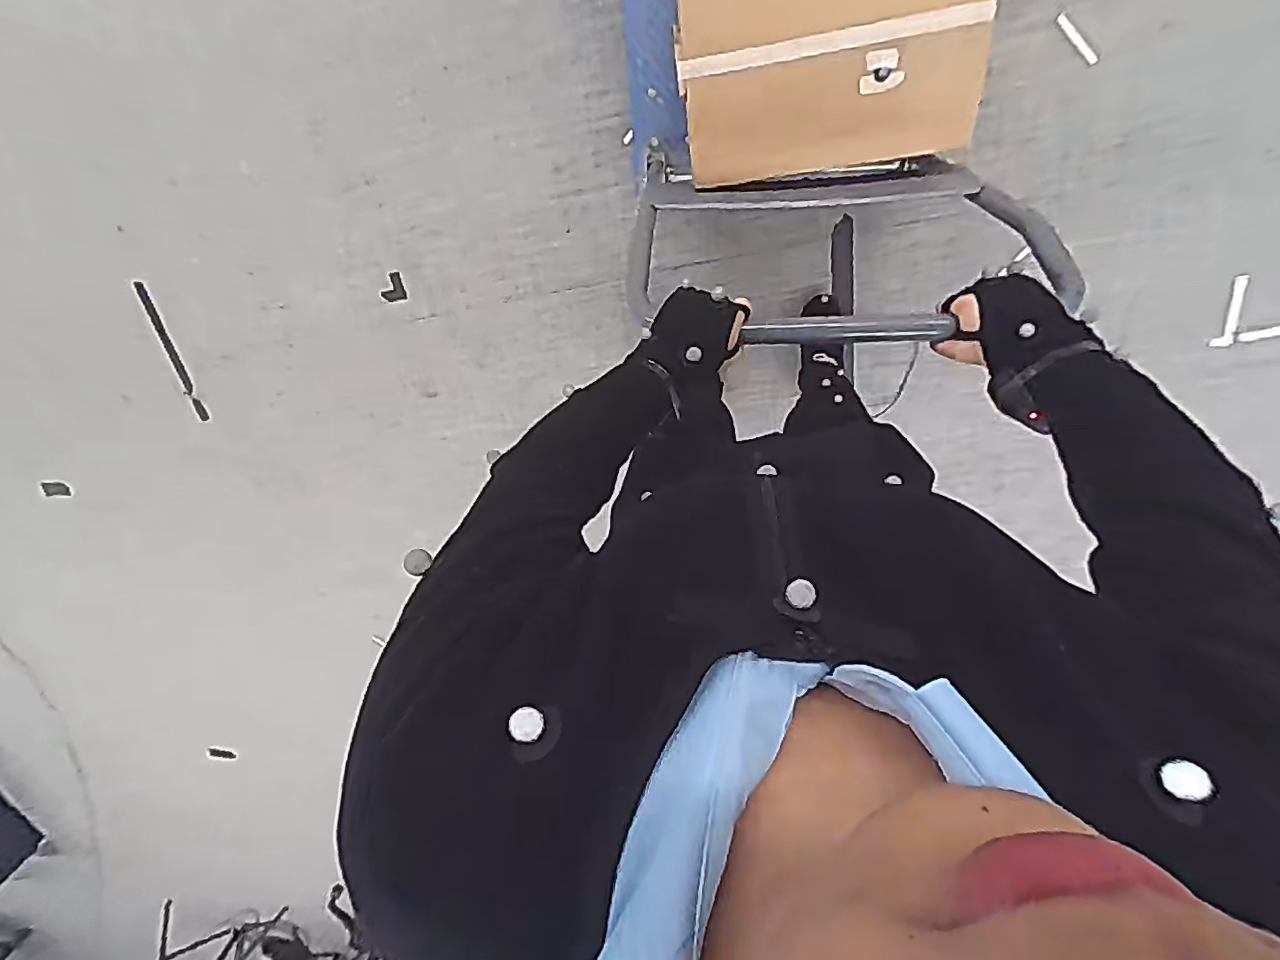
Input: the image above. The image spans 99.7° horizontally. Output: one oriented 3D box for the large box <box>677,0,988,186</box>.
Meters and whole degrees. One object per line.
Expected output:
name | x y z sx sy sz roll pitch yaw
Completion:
large box | 0.271 -0.697 0.860 0.408 0.320 0.320 -5 127 9
